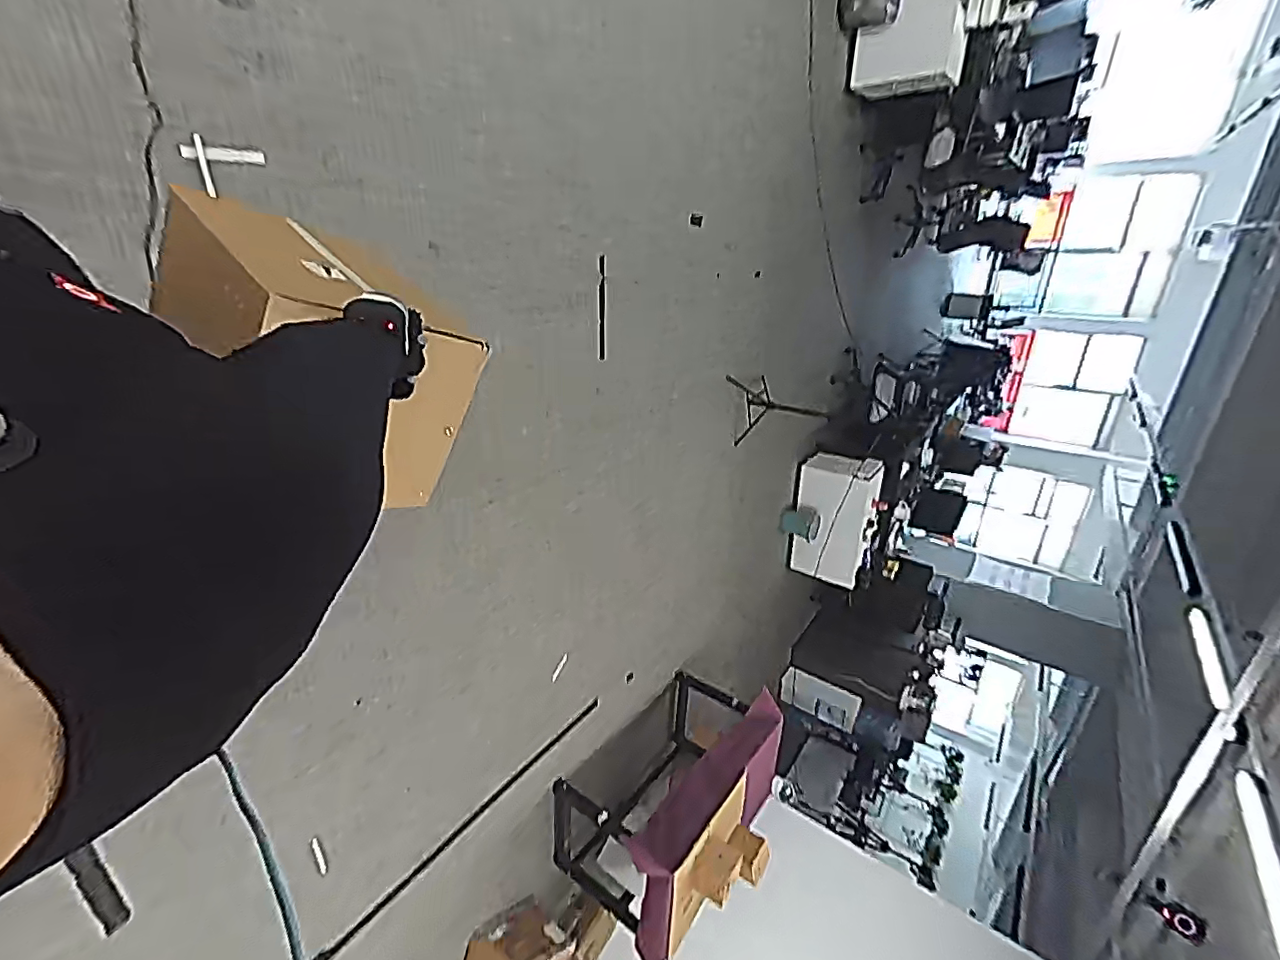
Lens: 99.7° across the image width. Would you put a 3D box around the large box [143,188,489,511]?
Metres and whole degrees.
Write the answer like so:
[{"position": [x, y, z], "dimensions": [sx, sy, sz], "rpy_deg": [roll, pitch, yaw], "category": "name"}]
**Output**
[{"position": [-0.531, -0.195, 0.878], "dimensions": [0.320, 0.408, 0.320], "rpy_deg": [-2, 126, -55], "category": "large box"}]
